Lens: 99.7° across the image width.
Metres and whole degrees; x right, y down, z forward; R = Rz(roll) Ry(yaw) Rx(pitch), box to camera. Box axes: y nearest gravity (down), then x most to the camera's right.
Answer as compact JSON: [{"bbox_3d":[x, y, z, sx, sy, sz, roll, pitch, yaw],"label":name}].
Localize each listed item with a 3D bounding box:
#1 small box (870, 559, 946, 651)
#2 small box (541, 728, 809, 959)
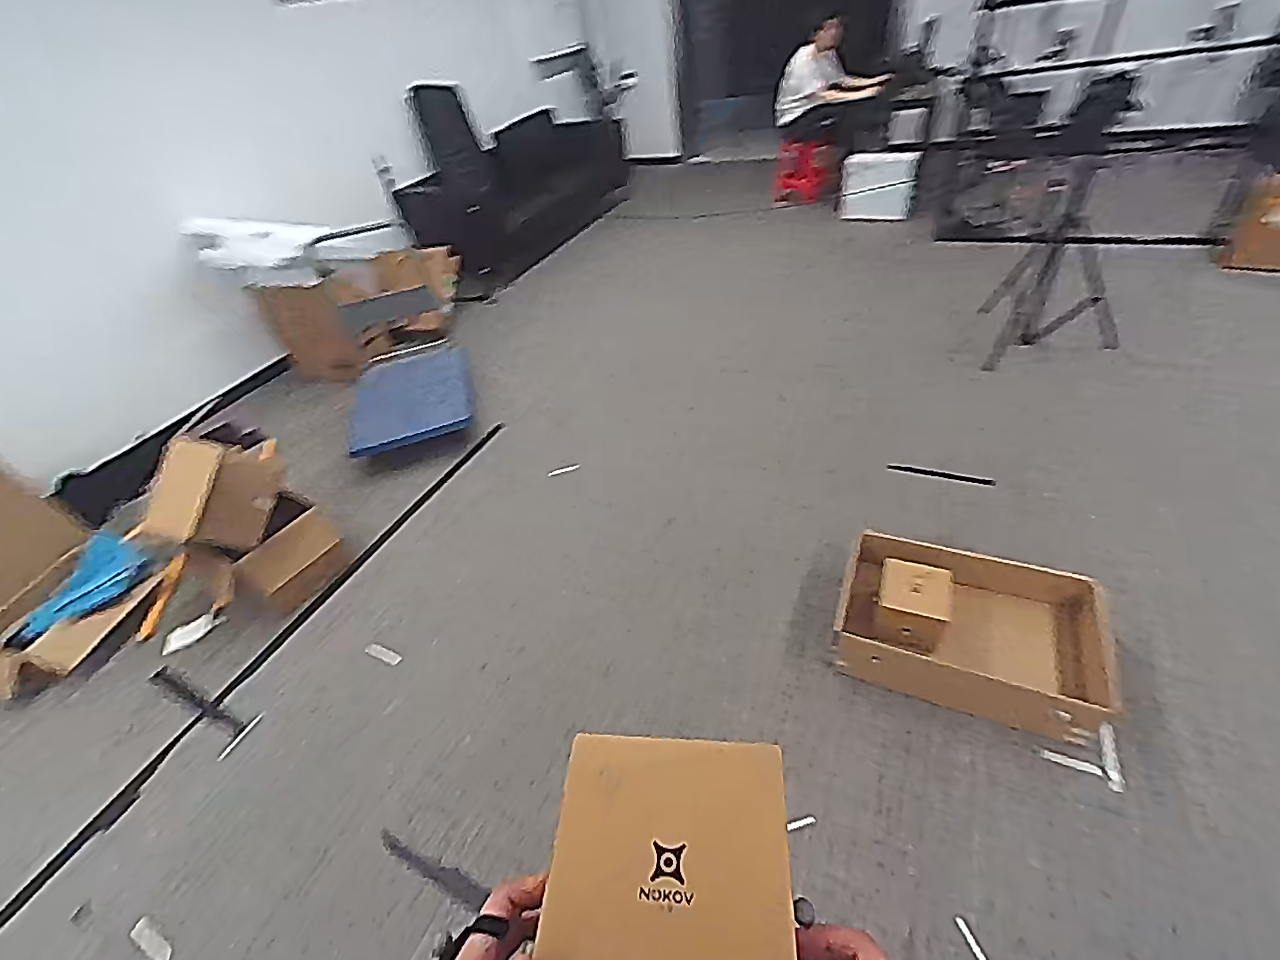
[{"bbox_3d":[0.760,0.358,1.540,0.168,0.176,0.179,11,45,21],"label":"small box"},{"bbox_3d":[0.034,0.320,0.416,0.168,0.176,0.179,0,43,9],"label":"small box"}]
